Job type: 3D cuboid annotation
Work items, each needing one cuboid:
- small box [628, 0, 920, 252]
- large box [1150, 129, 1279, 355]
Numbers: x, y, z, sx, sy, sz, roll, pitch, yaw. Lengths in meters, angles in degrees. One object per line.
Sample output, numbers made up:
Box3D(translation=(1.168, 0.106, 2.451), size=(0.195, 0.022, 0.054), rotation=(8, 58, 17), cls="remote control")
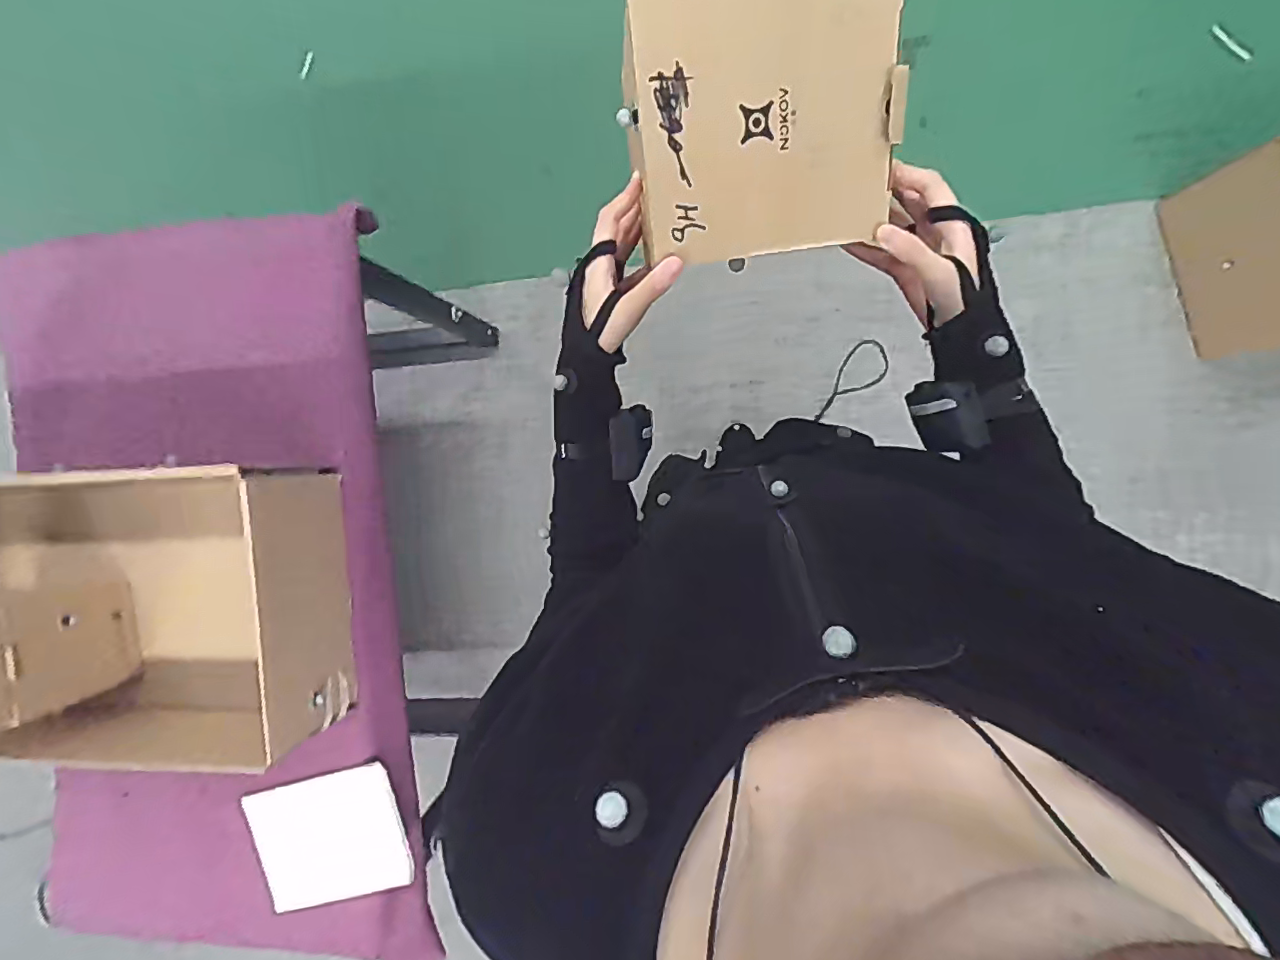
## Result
Box3D(translation=(0.088, -0.278, 0.428), size=(0.179, 0.176, 0.168), rotation=(-7, 113, -1), cls="small box")
Box3D(translation=(1.431, -0.531, 1.160), size=(0.320, 0.320, 0.408), rotation=(-18, 90, 7), cls="large box")
